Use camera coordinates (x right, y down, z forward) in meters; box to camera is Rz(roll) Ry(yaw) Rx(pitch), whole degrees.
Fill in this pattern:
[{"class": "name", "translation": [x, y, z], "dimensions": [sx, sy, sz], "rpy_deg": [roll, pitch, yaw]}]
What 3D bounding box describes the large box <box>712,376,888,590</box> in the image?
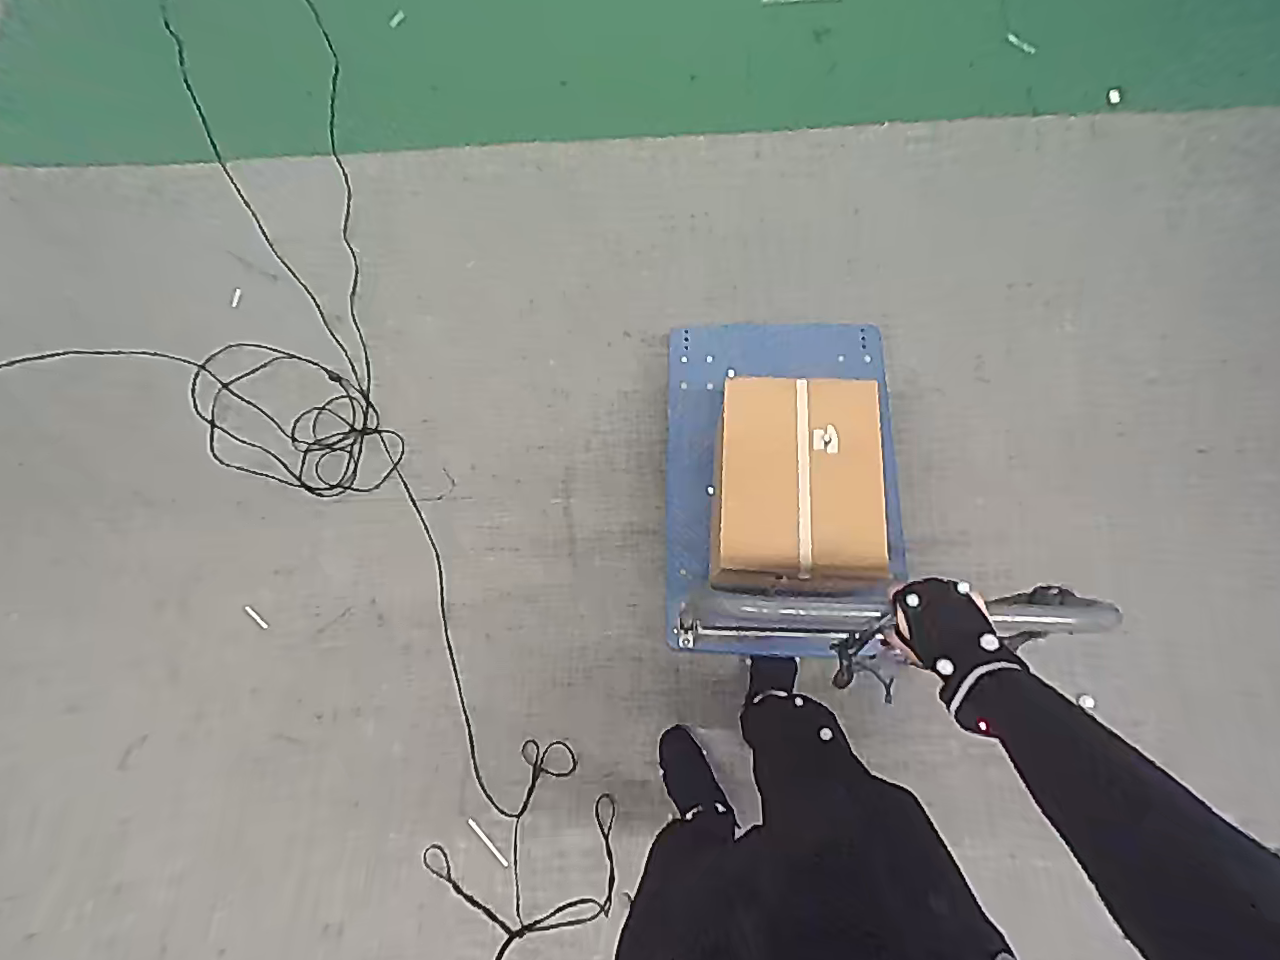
[{"class": "large box", "translation": [0.323, 0.023, 1.196], "dimensions": [0.320, 0.320, 0.408], "rpy_deg": [3, 73, 4]}]
